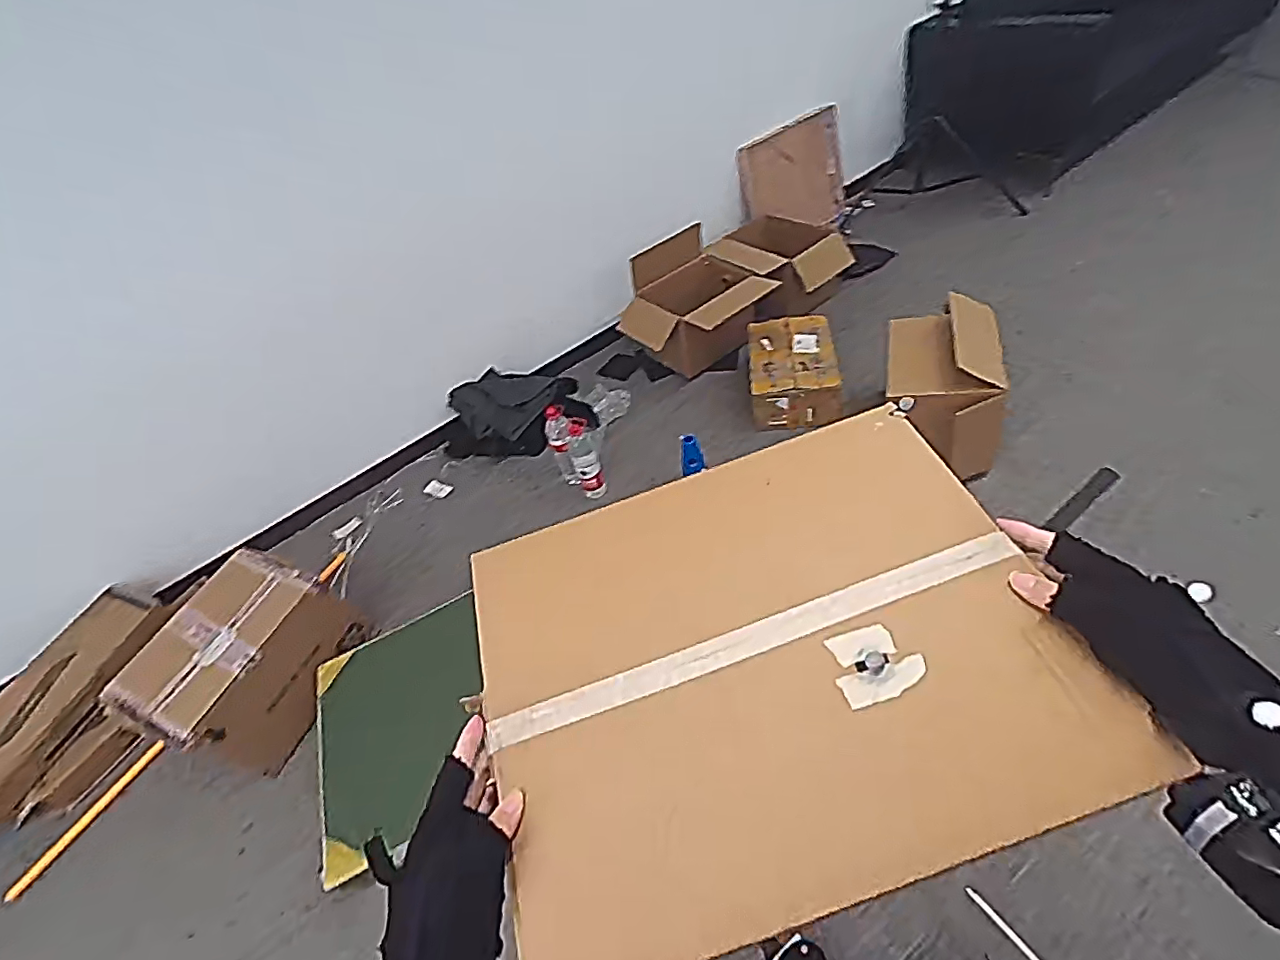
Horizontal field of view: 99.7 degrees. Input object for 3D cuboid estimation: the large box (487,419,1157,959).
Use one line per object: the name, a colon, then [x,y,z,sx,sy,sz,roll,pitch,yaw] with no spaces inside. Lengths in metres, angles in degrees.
large box: [0.114,0.208,0.528,0.408,0.320,0.320,-19,54,-1]
